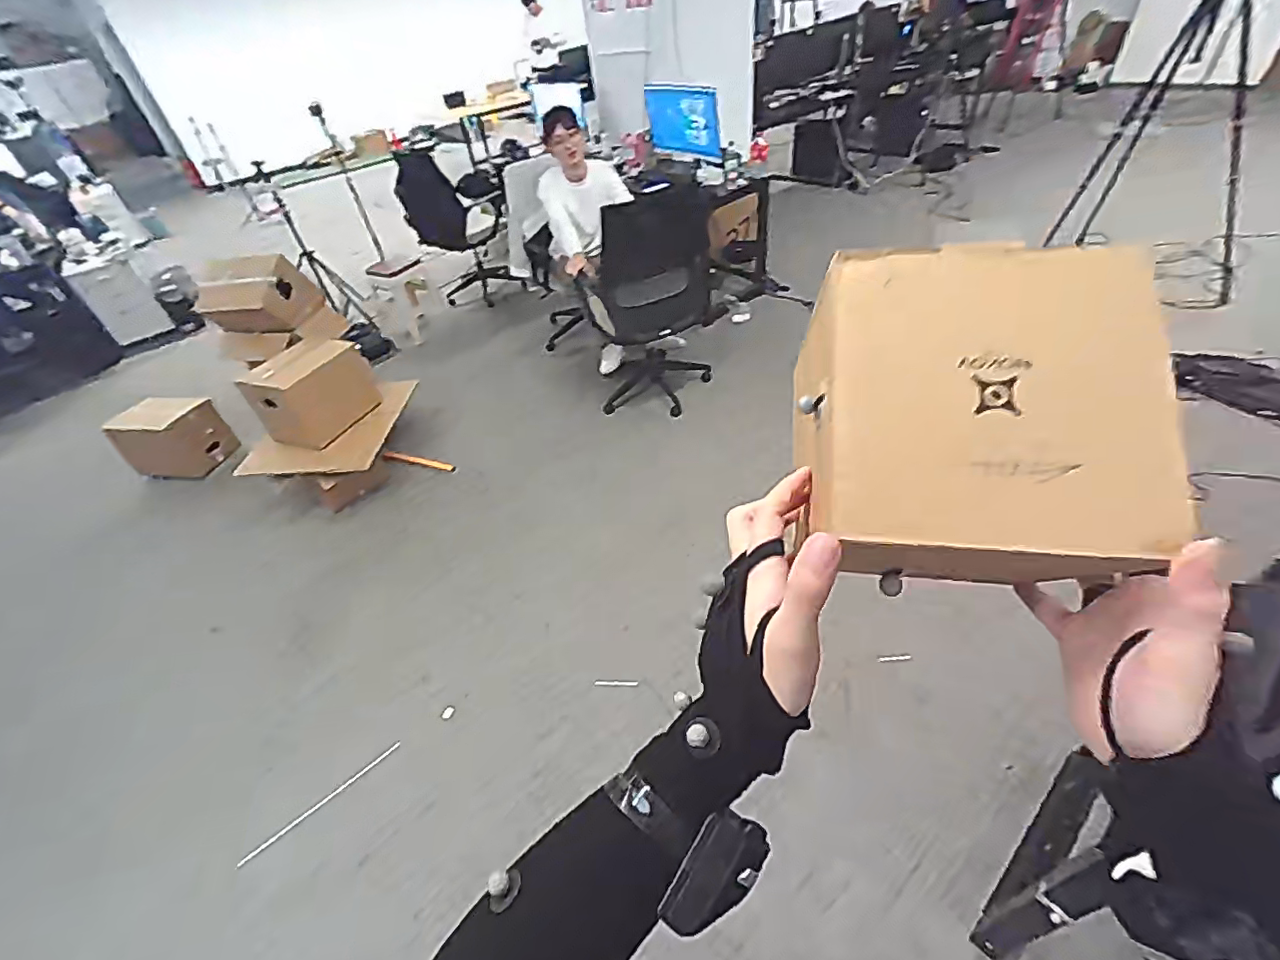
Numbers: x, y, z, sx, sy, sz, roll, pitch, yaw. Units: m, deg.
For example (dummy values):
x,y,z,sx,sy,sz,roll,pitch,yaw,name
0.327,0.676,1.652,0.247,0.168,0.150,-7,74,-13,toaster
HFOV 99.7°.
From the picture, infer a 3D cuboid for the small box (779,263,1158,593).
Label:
x,y,z,sx,sy,sz,roll,pitch,yaw,name
0.187,-0.022,0.371,0.168,0.176,0.179,2,75,9,small box
